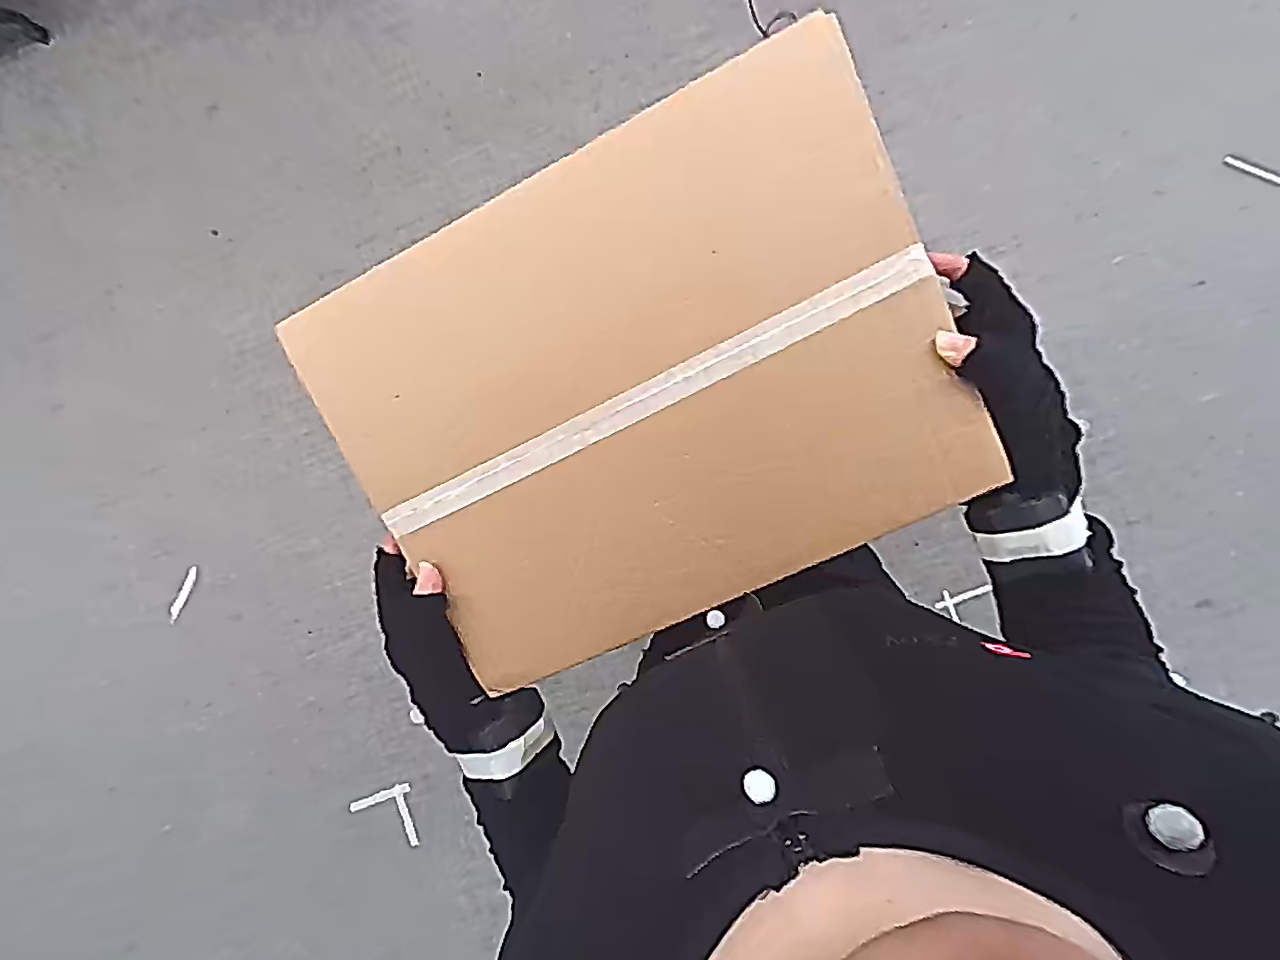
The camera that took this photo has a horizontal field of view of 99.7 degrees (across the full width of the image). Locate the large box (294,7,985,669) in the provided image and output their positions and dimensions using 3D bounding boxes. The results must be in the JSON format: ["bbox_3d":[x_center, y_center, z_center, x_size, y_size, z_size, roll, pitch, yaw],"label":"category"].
[{"bbox_3d":[0.007,-0.098,0.519,0.408,0.320,0.320,-25,98,9],"label":"large box"}]
